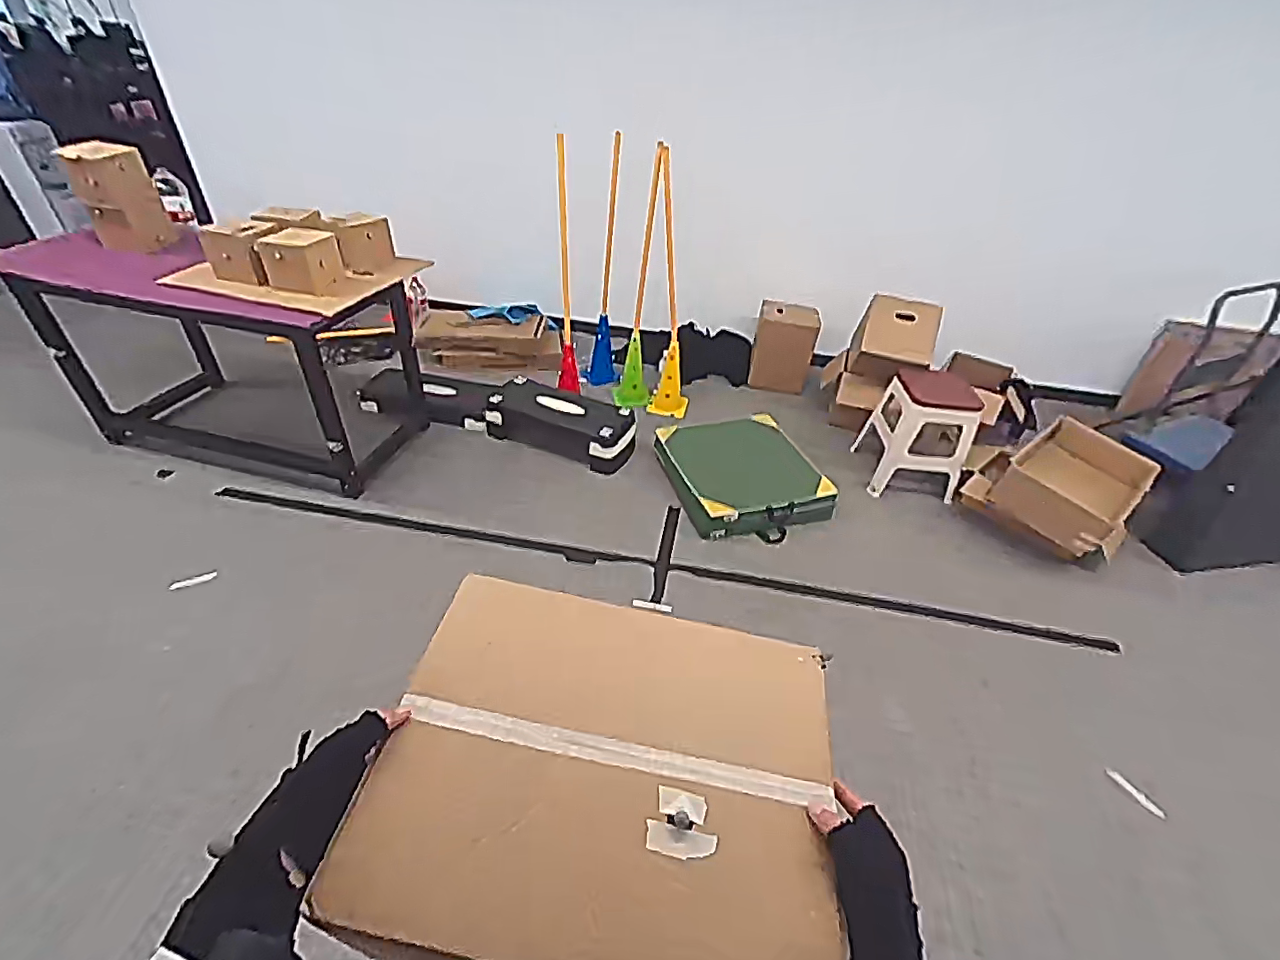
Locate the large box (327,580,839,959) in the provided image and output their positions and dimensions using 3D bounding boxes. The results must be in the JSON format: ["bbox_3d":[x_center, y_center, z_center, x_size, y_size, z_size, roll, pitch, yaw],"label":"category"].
[{"bbox_3d":[-0.043,0.360,0.610,0.408,0.320,0.320,12,43,2],"label":"large box"}]
